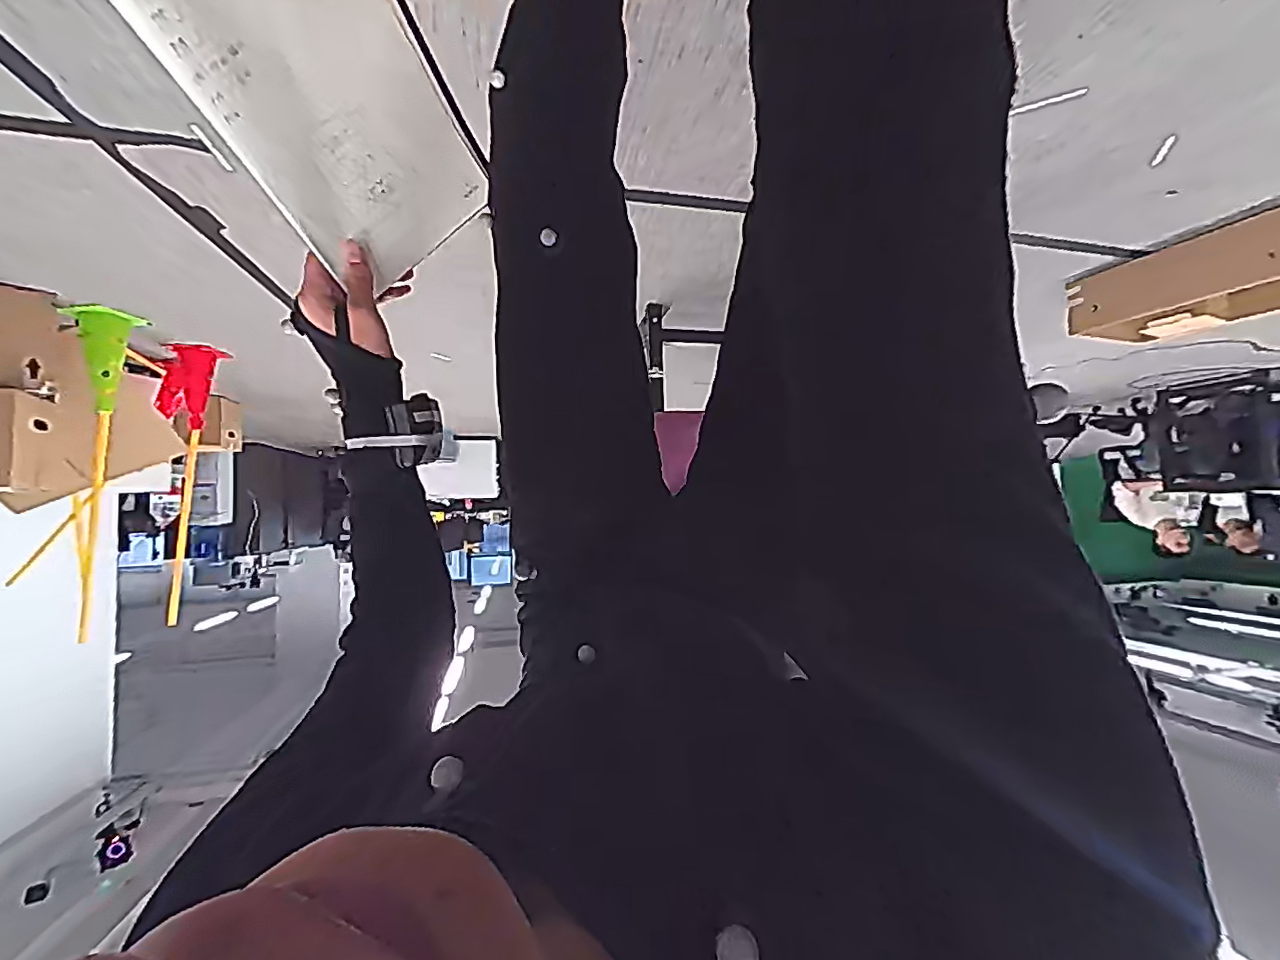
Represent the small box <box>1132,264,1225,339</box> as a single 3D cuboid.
[{"bbox_3d":[1.710,-0.566,1.721,0.179,0.176,0.168,0,176,-27],"label":"small box"}]
